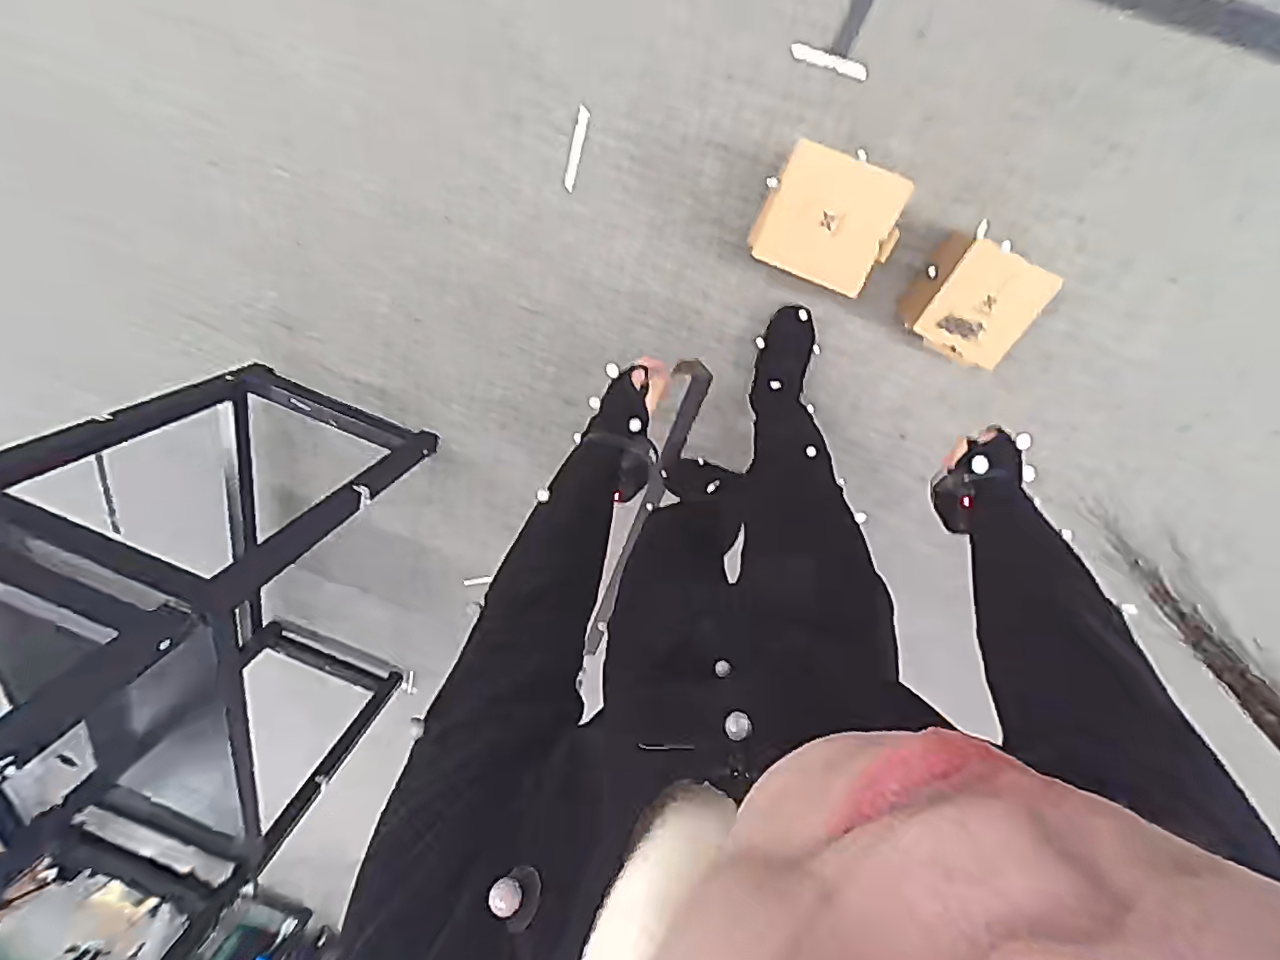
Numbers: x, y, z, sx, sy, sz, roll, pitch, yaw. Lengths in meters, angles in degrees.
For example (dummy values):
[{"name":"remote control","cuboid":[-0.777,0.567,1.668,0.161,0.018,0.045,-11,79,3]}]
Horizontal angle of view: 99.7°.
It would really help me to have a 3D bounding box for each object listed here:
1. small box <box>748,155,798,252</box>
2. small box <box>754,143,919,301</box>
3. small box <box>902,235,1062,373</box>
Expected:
[{"name":"small box","cuboid":[0.319,-0.479,1.001,0.179,0.176,0.168,26,121,-2]},{"name":"small box","cuboid":[0.297,-0.408,0.854,0.179,0.176,0.168,23,121,1]},{"name":"small box","cuboid":[0.618,-0.333,1.009,0.168,0.176,0.179,27,120,-2]}]
